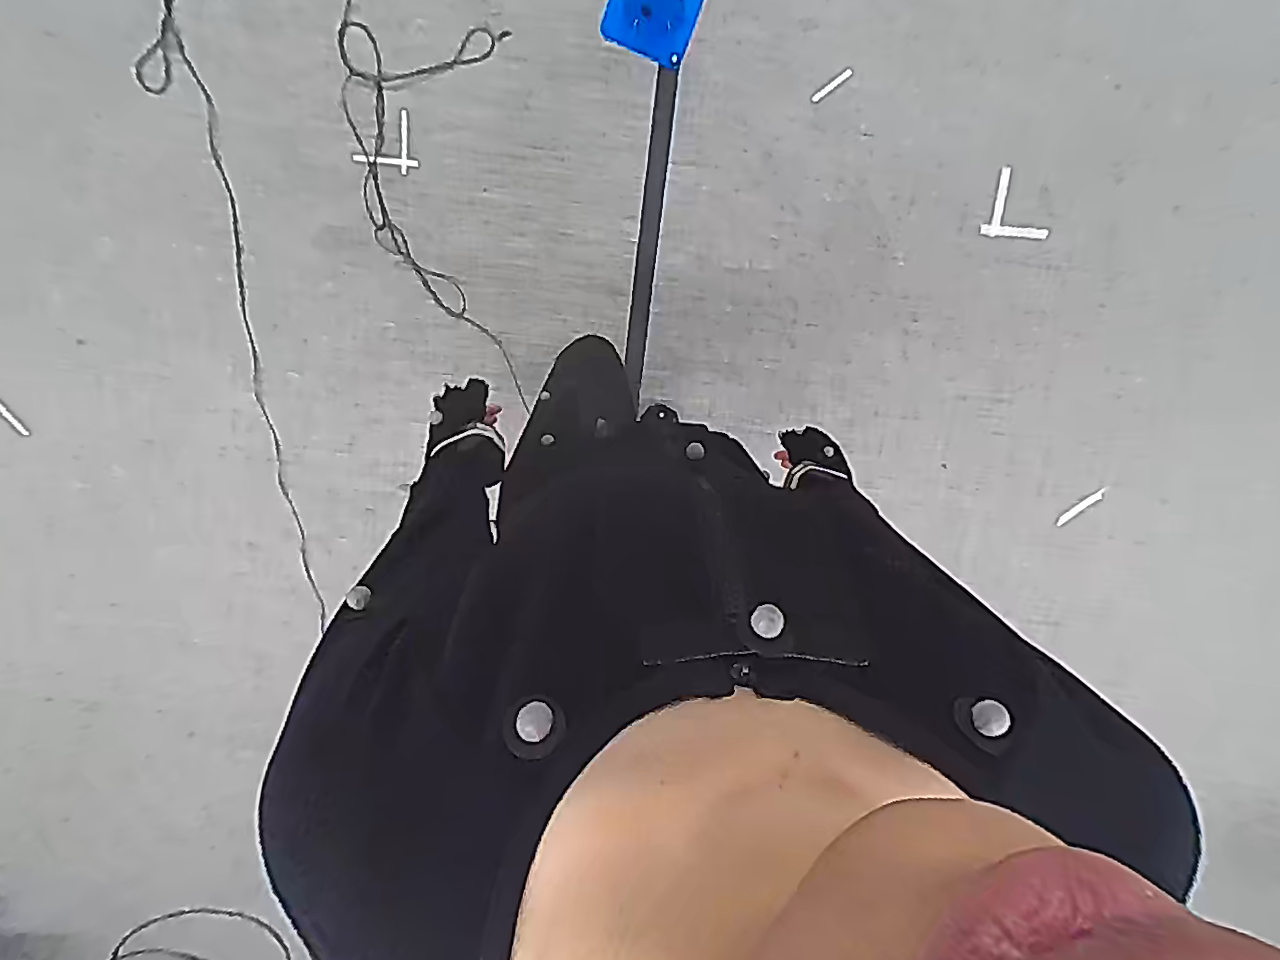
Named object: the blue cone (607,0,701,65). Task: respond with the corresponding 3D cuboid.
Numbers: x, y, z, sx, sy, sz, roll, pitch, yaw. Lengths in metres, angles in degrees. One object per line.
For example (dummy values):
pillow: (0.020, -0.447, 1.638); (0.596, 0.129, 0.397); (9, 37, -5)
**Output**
blue cone: (0.039, -1.035, 1.067); (0.192, 0.380, 0.193); (22, 102, -8)
